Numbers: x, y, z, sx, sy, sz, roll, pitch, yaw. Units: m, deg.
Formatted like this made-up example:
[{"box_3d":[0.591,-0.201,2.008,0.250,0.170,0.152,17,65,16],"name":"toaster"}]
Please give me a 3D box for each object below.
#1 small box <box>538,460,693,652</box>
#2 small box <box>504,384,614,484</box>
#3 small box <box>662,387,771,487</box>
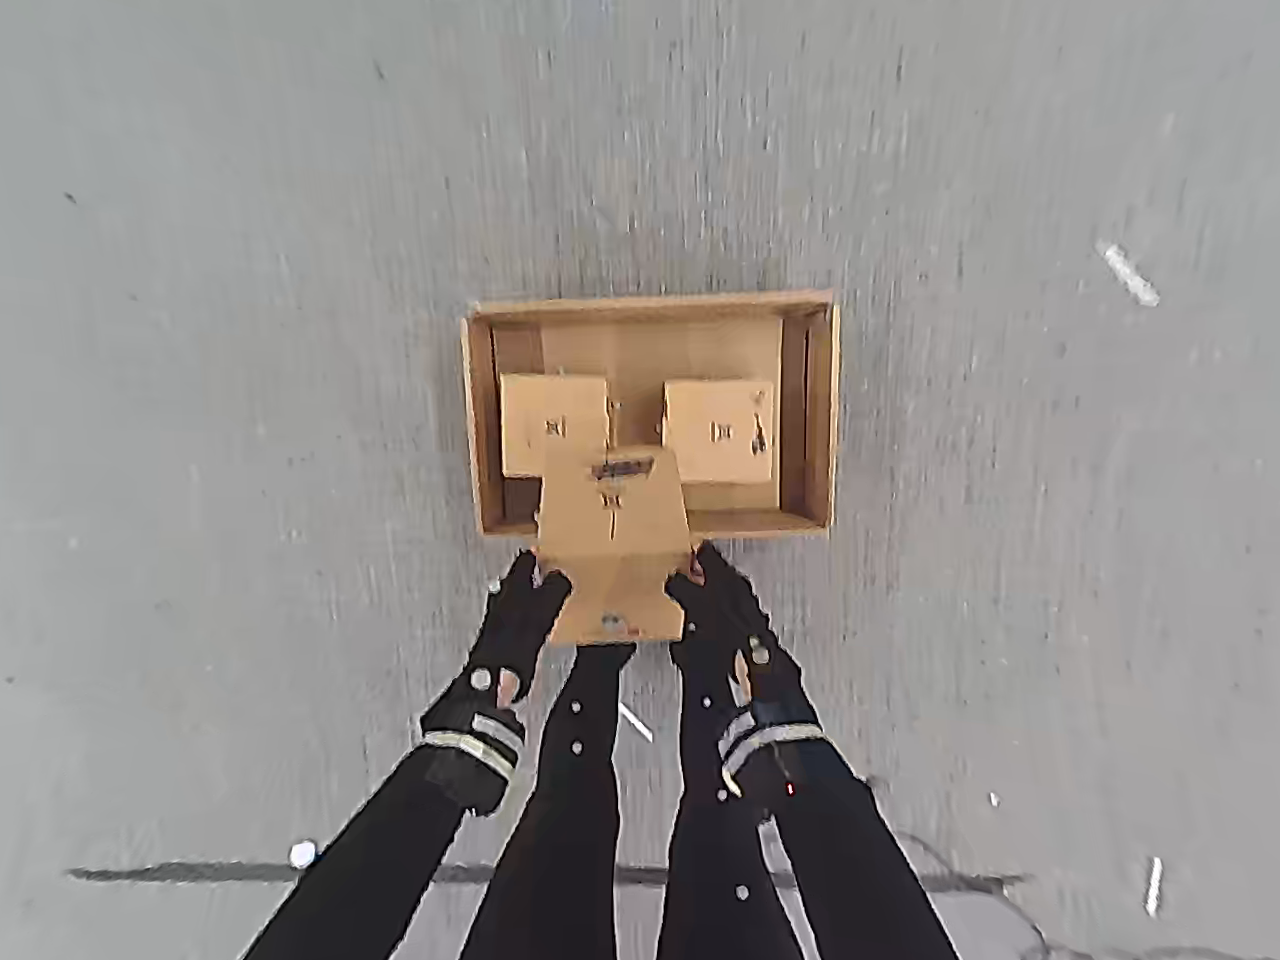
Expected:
[{"box_3d":[-0.032,0.092,0.676,0.168,0.179,0.176,-1,130,-4],"name":"small box"},{"box_3d":[-0.137,-0.085,0.969,0.179,0.176,0.168,1,98,1],"name":"small box"},{"box_3d":[0.130,-0.080,0.966,0.179,0.176,0.168,-1,99,3],"name":"small box"}]
